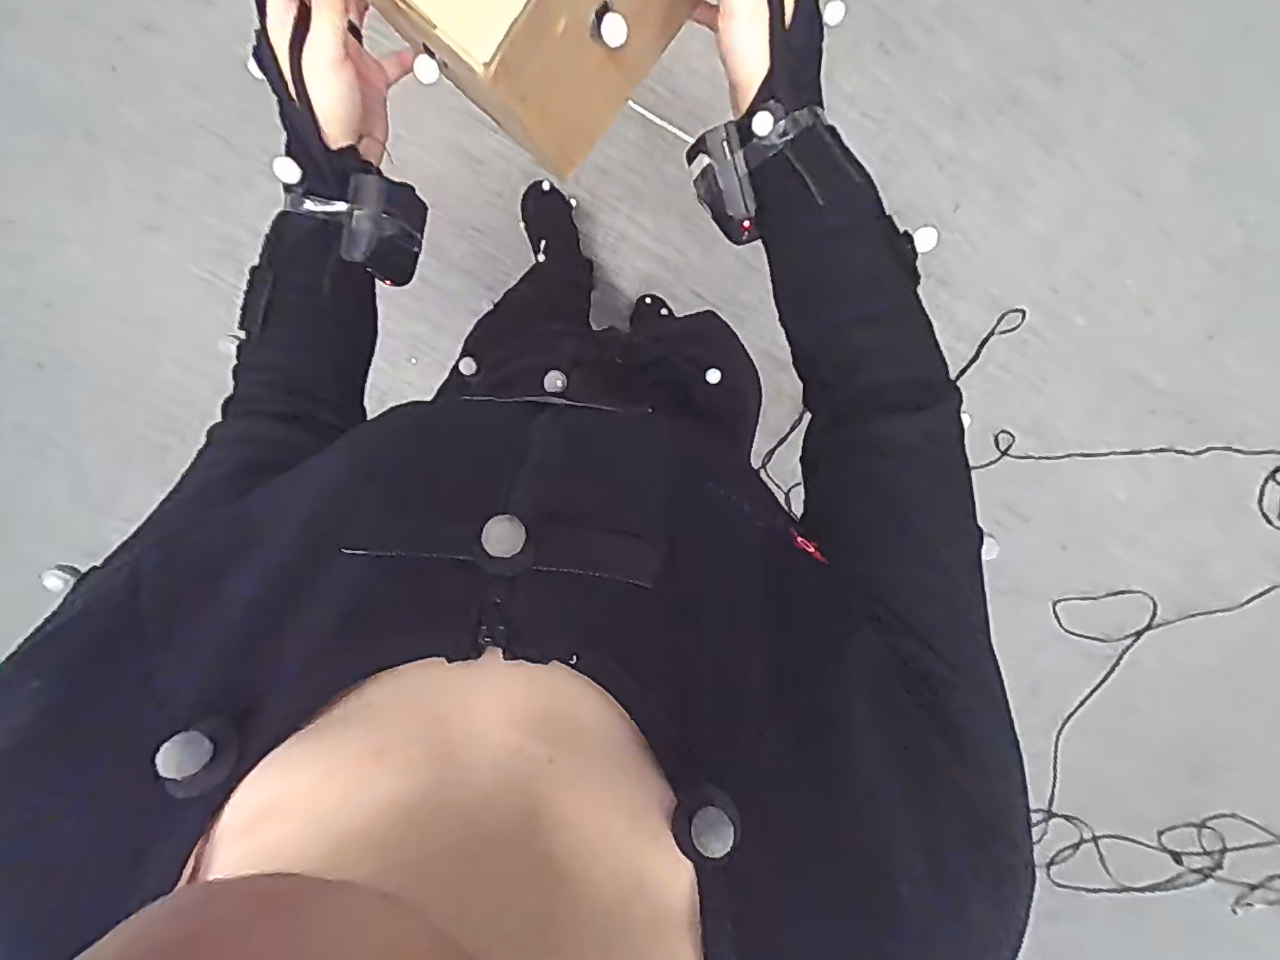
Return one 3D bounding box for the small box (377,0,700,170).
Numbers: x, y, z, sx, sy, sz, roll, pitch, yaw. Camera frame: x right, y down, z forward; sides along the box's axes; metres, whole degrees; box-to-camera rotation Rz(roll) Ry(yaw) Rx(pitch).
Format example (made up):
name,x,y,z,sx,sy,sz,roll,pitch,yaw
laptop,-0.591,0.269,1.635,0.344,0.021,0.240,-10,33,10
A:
name,x,y,z,sx,sy,sz,roll,pitch,yaw
small box,-0.068,-0.324,0.313,0.168,0.176,0.179,41,104,-4
